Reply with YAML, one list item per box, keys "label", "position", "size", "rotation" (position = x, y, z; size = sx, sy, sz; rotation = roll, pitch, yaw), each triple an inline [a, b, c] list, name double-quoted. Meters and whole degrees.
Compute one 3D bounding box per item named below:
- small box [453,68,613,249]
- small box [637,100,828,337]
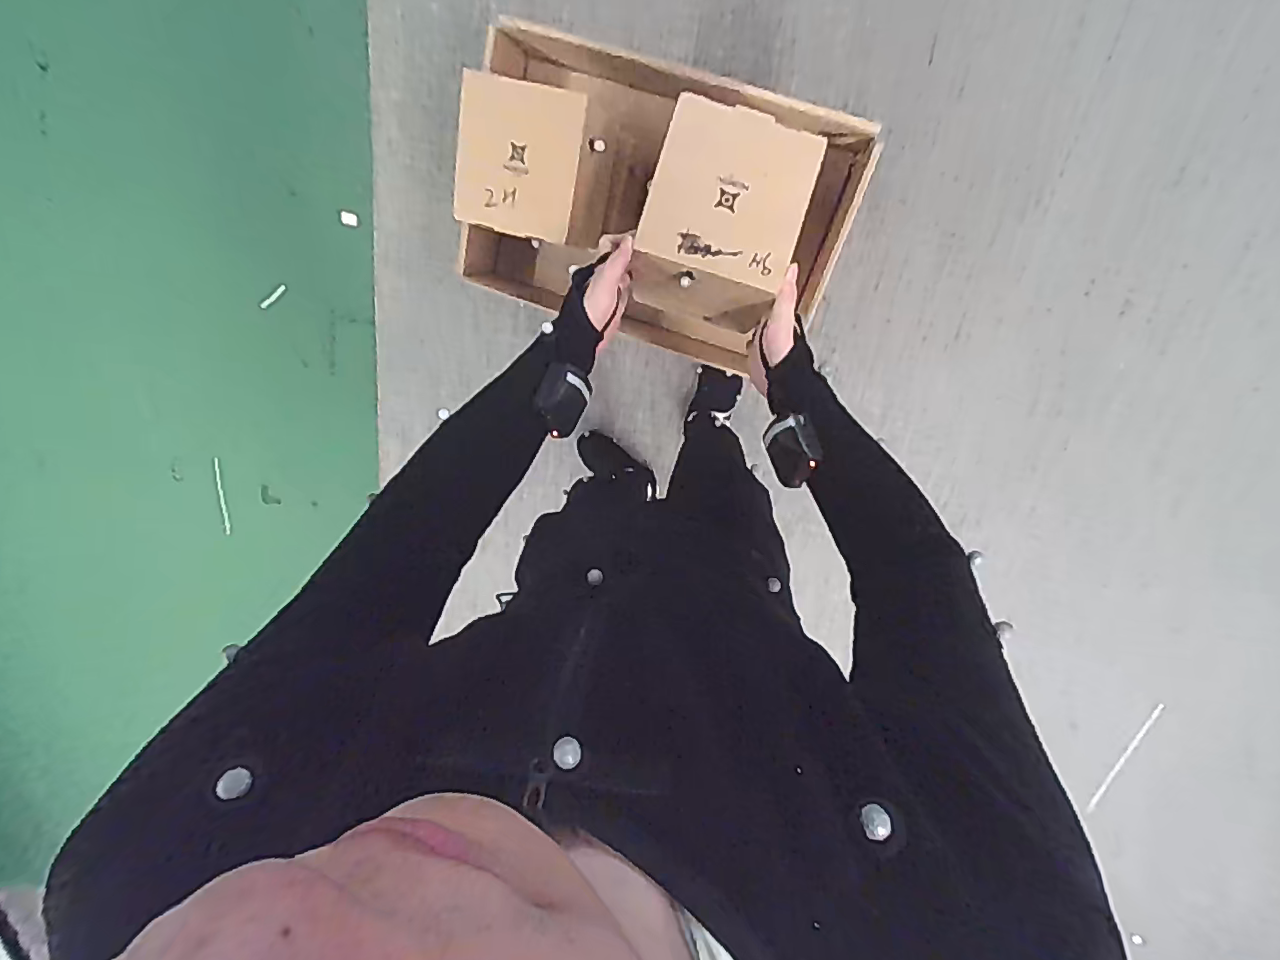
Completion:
- label: "small box"
  position: [-0.143, -0.439, 0.767]
  size: [0.168, 0.176, 0.179]
  rotation: [16, 115, 4]
- label: "small box"
  position: [0.095, -0.295, 0.650]
  size: [0.168, 0.176, 0.179]
  rotation: [17, 91, -2]
